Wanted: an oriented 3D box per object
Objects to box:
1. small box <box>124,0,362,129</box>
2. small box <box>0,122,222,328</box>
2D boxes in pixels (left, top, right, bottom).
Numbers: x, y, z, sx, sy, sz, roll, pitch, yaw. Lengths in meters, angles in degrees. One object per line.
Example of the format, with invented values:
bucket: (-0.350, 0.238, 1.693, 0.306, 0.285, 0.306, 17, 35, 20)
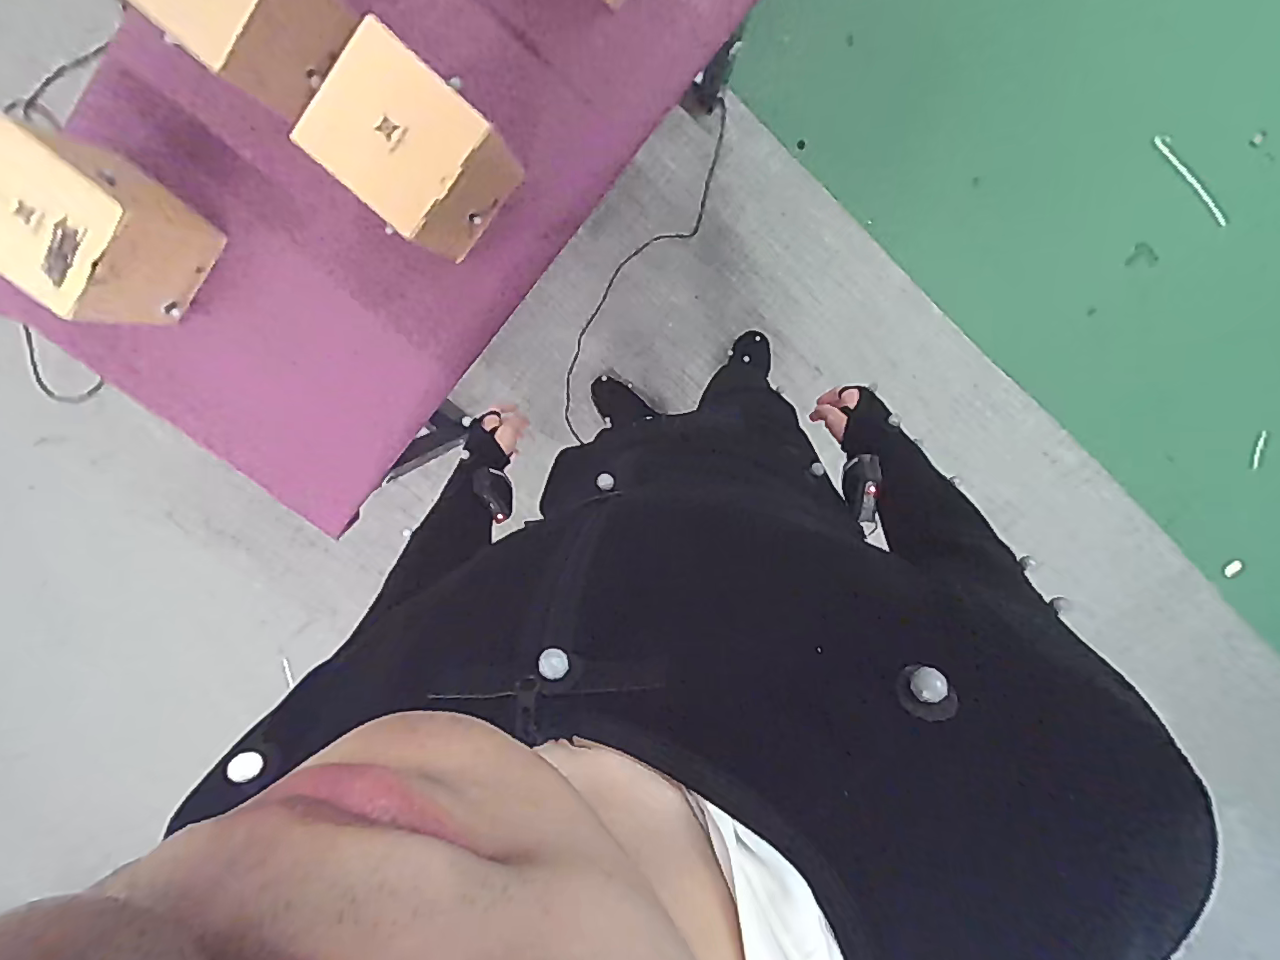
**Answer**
small box: (-0.497, -0.589, 0.674, 0.179, 0.176, 0.168, 40, 100, -9)
small box: (-0.731, -0.324, 0.732, 0.179, 0.176, 0.168, 39, 99, -8)
